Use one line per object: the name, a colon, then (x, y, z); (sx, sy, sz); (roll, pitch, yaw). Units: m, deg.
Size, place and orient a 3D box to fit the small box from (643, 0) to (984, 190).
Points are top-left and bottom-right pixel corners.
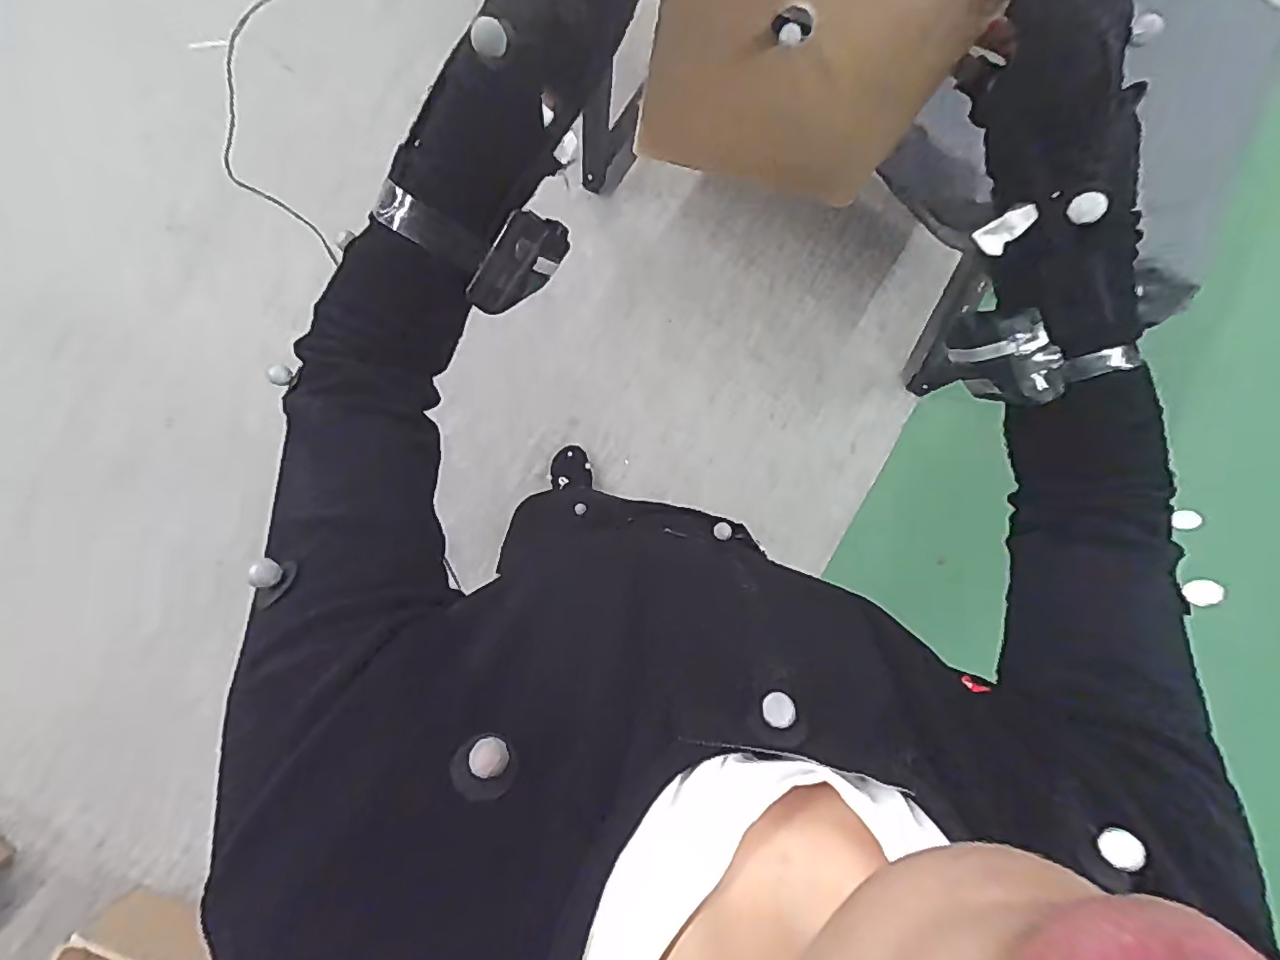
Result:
small box: (0.106, -0.333, 0.365); (0.179, 0.176, 0.168); (11, 80, -7)
